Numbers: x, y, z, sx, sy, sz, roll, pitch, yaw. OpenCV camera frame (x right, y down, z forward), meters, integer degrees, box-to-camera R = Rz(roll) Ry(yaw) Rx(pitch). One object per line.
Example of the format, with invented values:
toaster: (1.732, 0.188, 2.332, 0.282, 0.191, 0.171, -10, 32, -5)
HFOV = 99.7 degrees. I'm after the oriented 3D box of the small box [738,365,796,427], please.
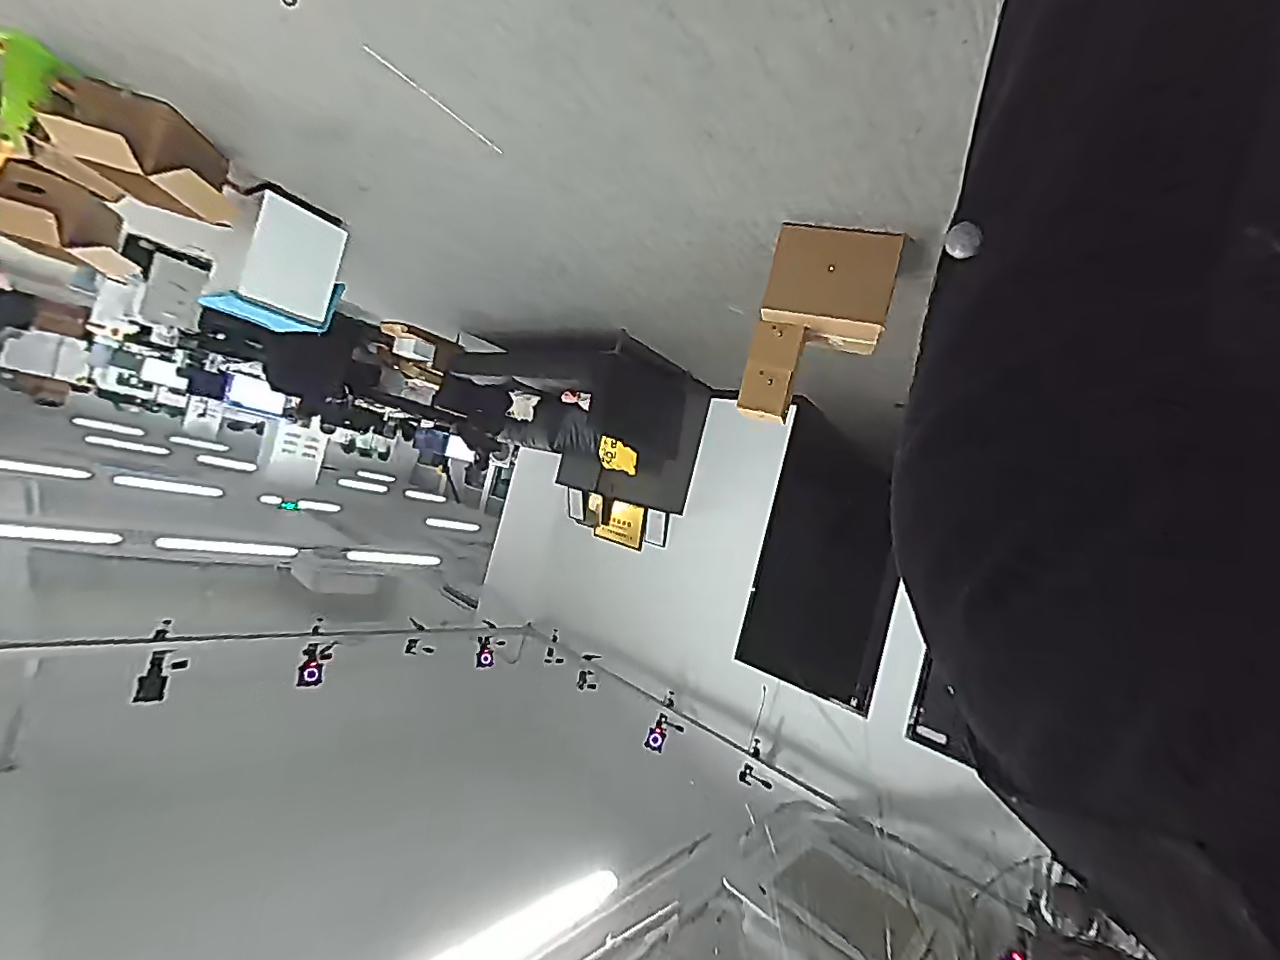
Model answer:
small box: (0.473, -0.311, 2.001, 0.168, 0.176, 0.179, 14, 178, 21)
